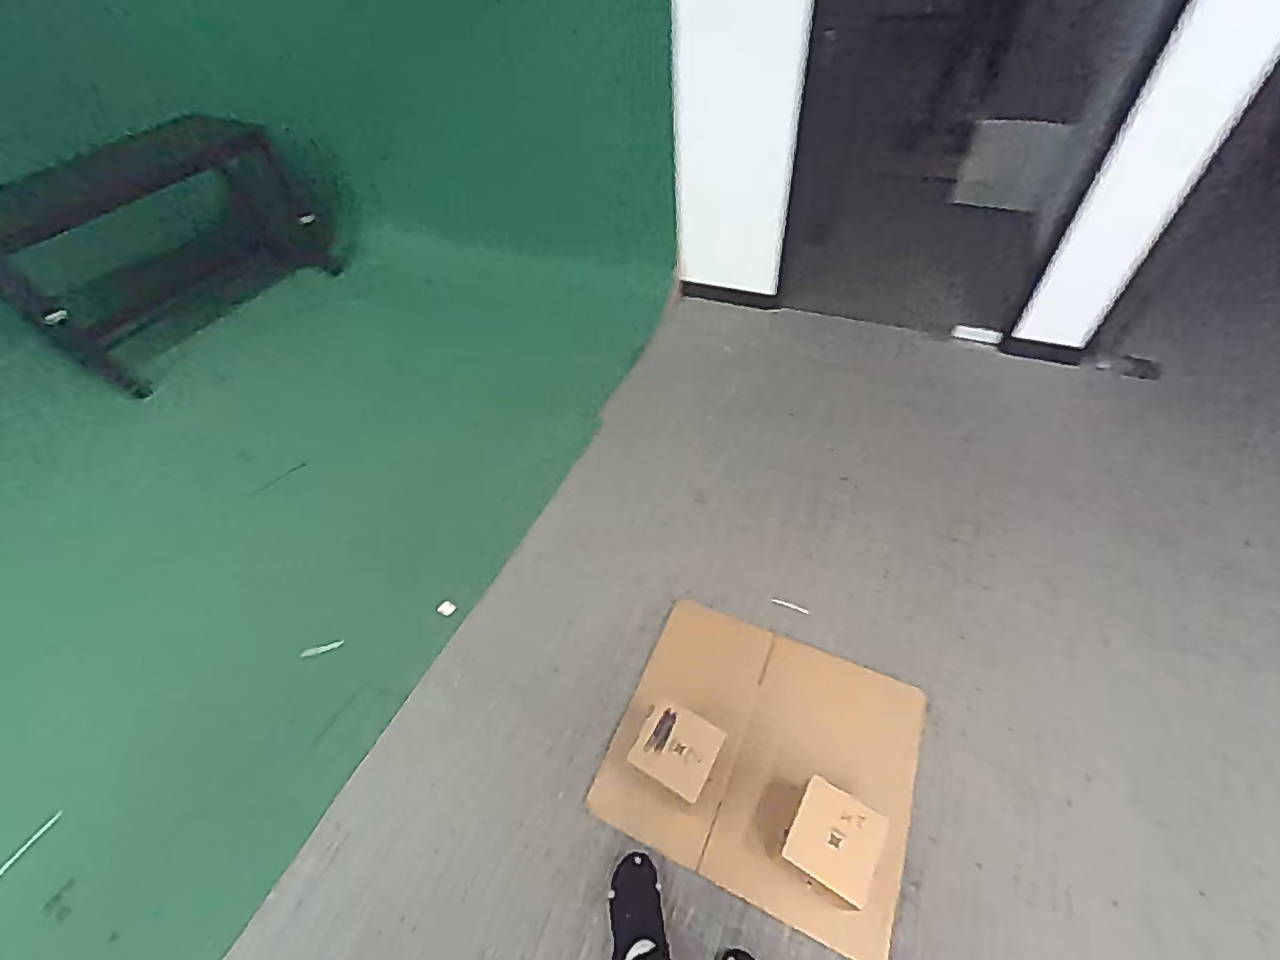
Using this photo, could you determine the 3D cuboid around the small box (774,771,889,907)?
[{"bbox_3d":[0.395,0.759,1.141,0.168,0.176,0.179,25,57,22],"label":"small box"}]
